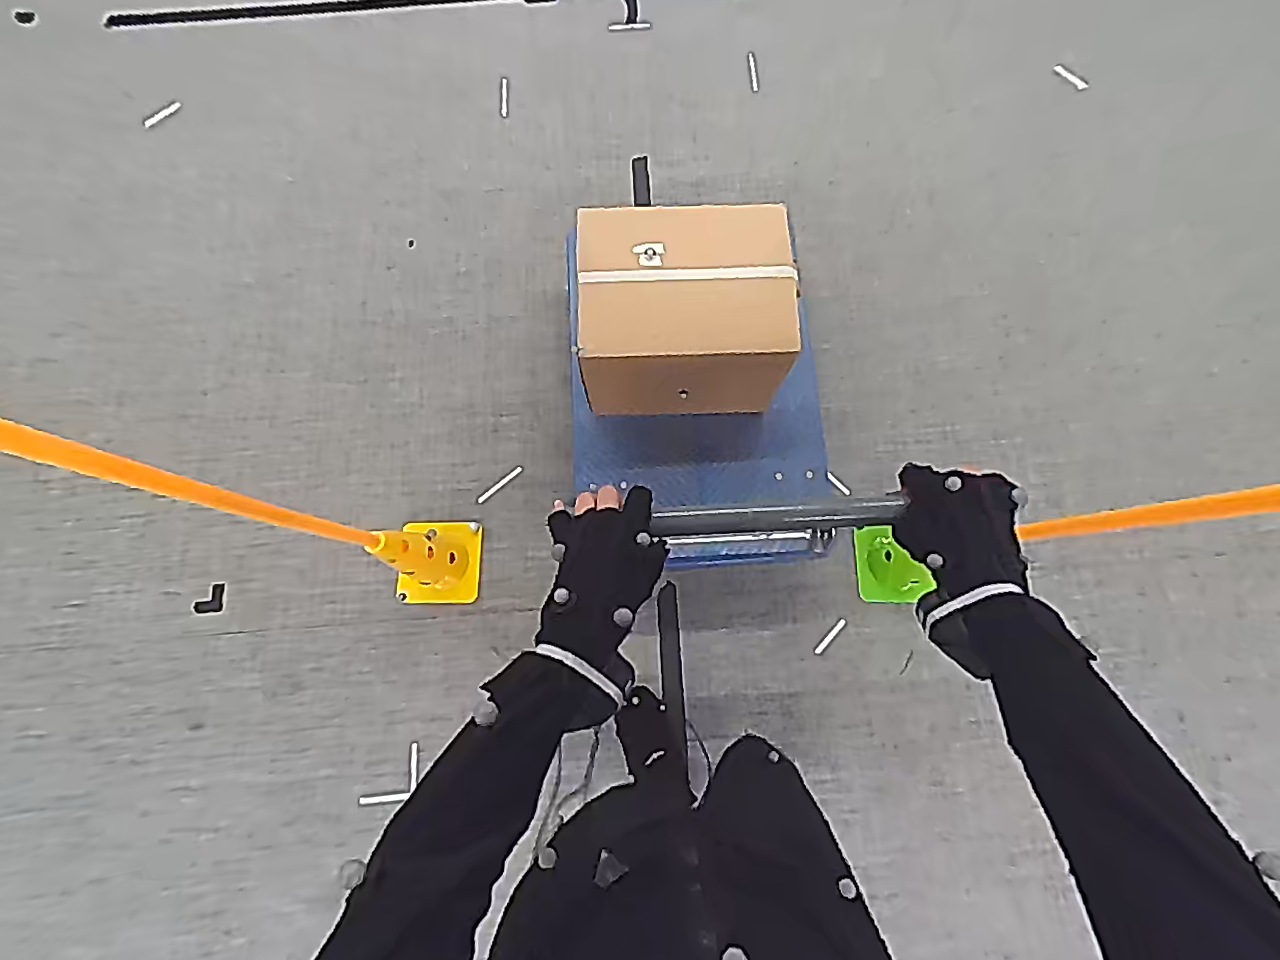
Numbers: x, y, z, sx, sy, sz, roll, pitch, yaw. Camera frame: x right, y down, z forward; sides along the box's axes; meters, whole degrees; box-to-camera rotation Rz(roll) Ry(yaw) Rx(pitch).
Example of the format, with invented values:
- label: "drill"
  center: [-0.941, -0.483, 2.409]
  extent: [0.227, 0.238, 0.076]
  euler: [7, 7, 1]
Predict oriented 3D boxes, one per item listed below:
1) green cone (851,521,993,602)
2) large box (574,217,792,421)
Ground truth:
- label: "green cone"
  center: [0.634, 0.158, 1.182]
  extent: [0.202, 0.368, 0.200]
  euler: [0, 75, -1]
- label: "large box"
  center: [0.080, -0.324, 1.168]
  extent: [0.408, 0.320, 0.320]
  euler: [-2, 76, 1]
